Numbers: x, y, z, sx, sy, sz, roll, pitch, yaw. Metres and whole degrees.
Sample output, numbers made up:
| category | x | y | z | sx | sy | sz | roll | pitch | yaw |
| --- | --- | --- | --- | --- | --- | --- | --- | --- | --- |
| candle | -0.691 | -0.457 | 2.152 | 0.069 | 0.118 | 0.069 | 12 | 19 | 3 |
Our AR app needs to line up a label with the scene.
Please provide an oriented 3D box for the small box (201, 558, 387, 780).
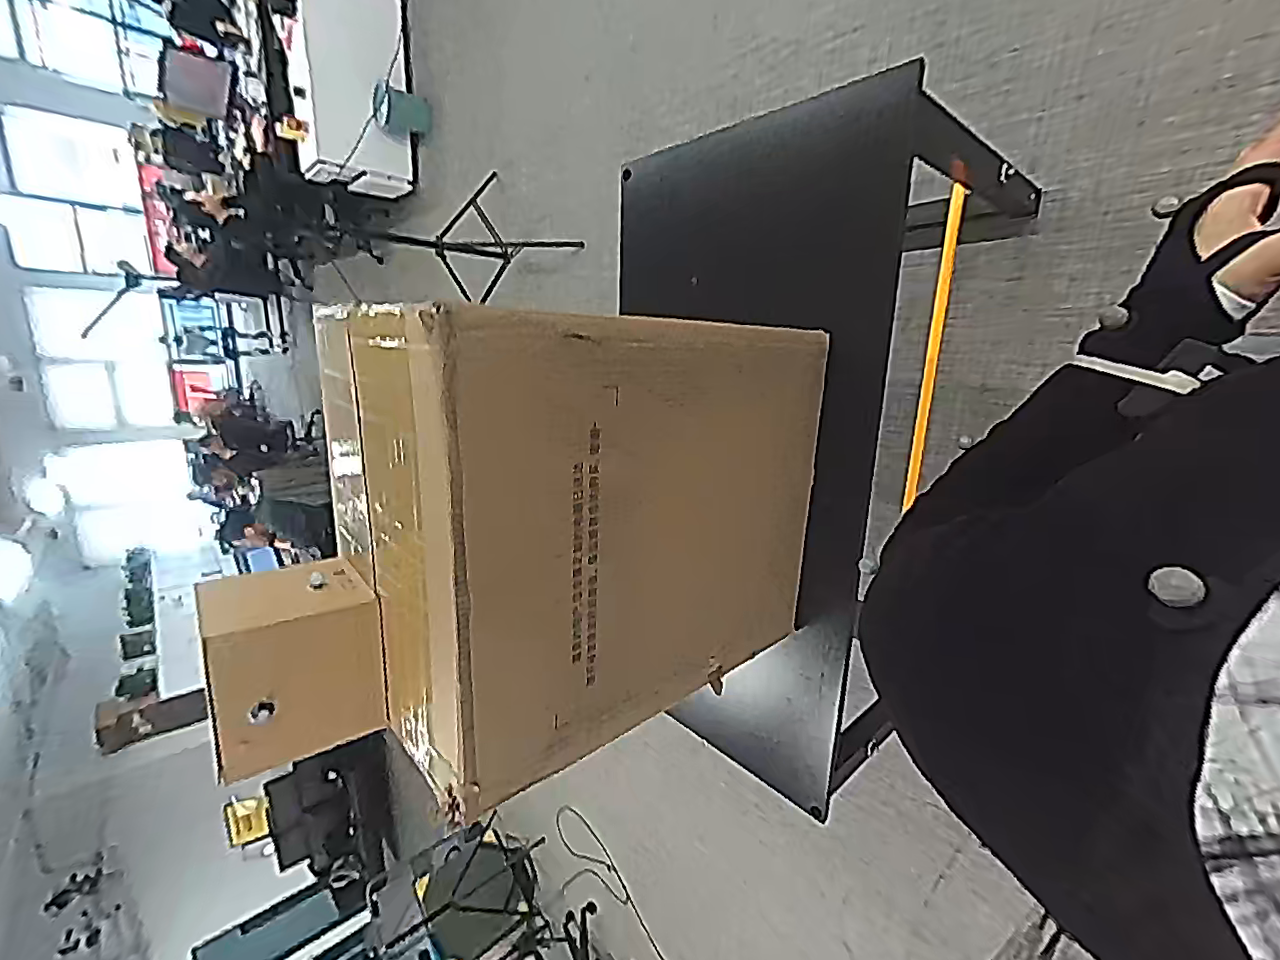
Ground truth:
| category | x | y | z | sx | sy | sz | roll | pitch | yaw |
| --- | --- | --- | --- | --- | --- | --- | --- | --- | --- |
| small box | -0.422 | 0.215 | 0.667 | 0.168 | 0.176 | 0.179 | 18 | 109 | 47 |
